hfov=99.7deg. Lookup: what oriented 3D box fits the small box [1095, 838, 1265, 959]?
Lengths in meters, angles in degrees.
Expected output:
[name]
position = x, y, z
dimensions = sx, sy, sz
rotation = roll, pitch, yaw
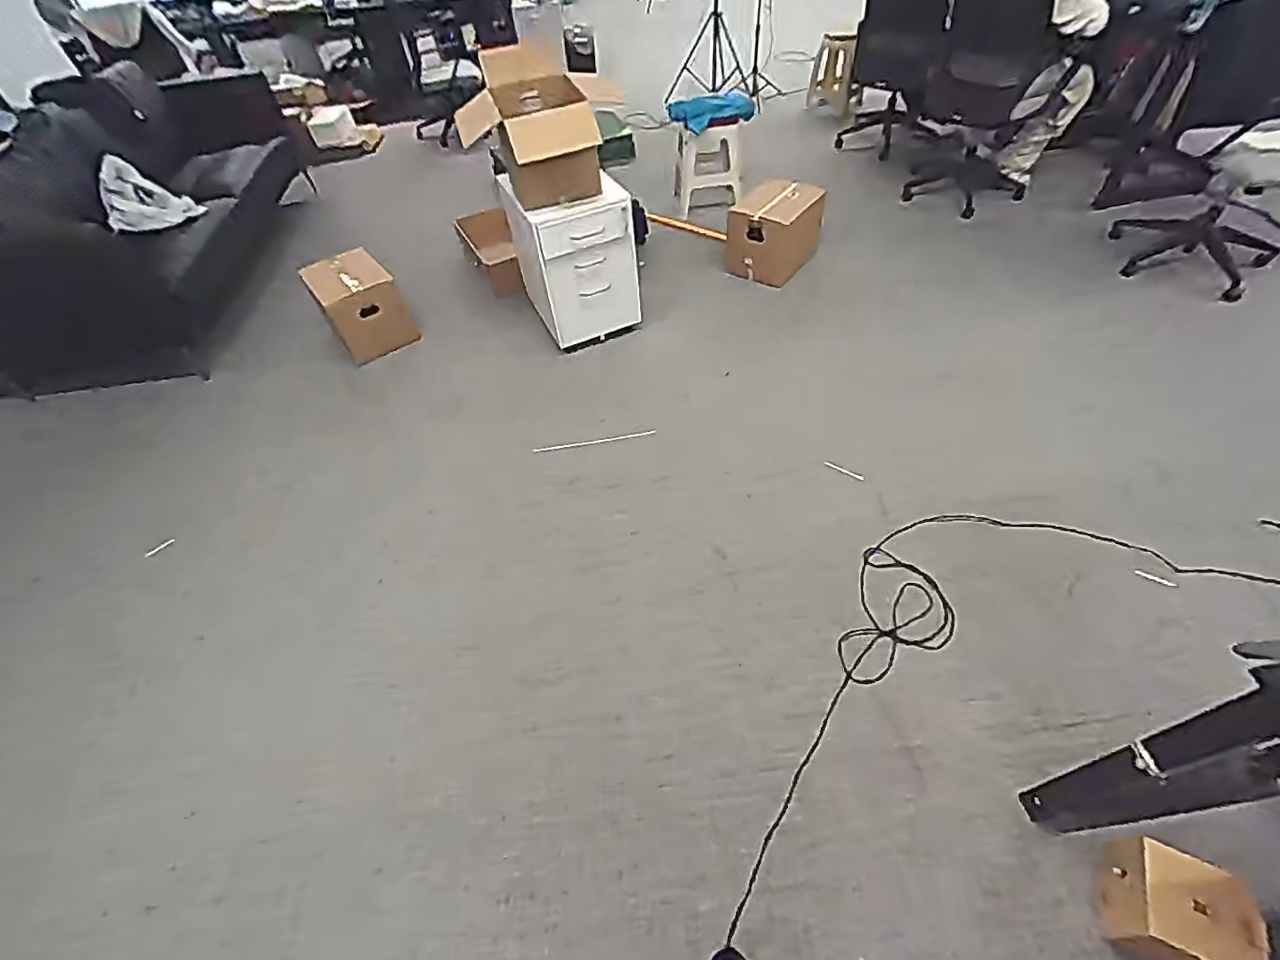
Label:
[small box]
position = 1.006, 0.822, 1.027
dimensions = 0.179, 0.176, 0.168
rotation = 18, 54, 19
